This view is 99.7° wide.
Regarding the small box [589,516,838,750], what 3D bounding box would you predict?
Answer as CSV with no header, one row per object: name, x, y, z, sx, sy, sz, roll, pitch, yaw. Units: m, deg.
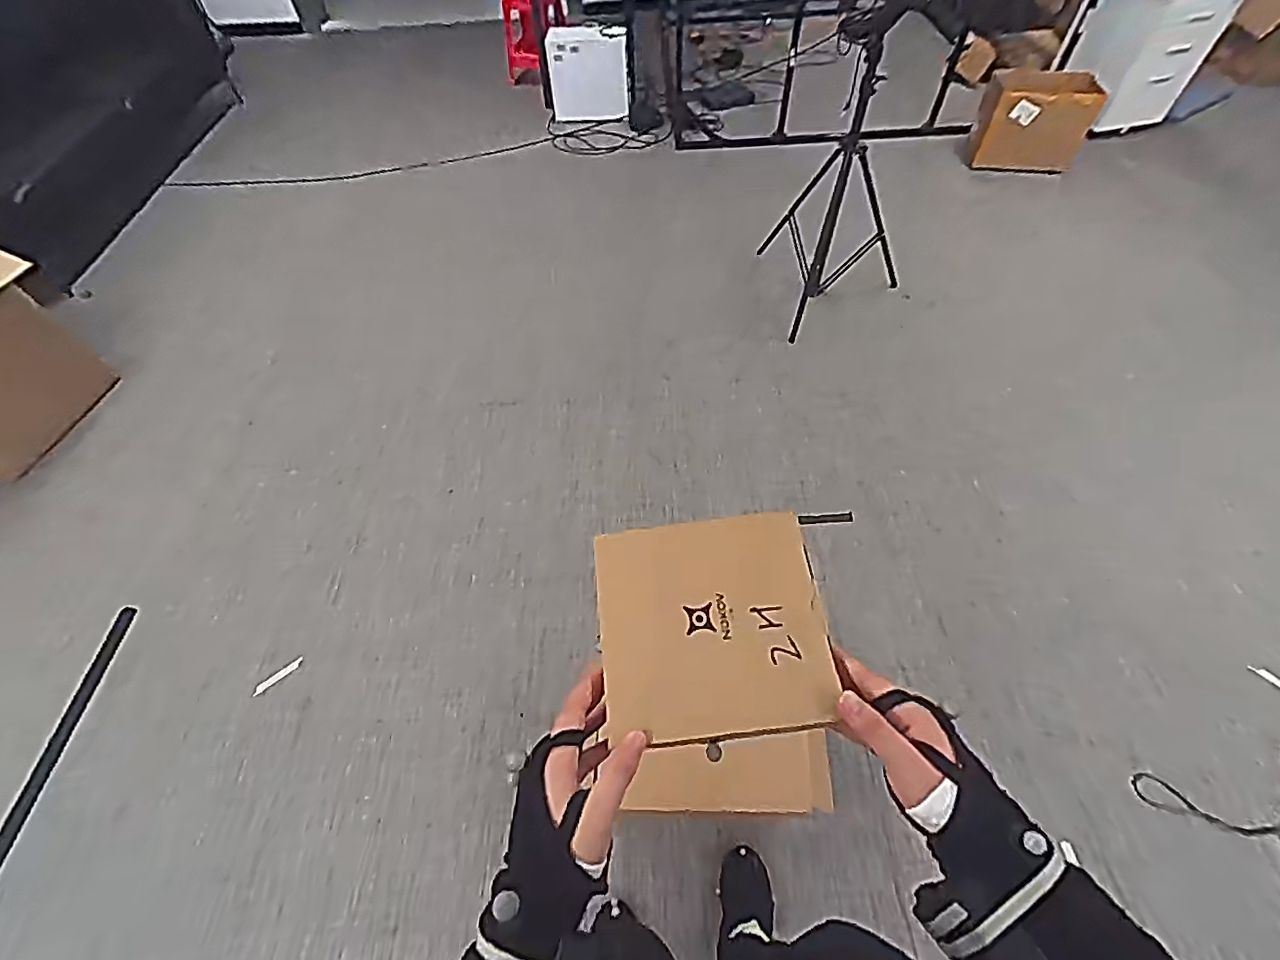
small box,0.056,0.149,0.497,0.179,0.176,0.168,-7,63,0
